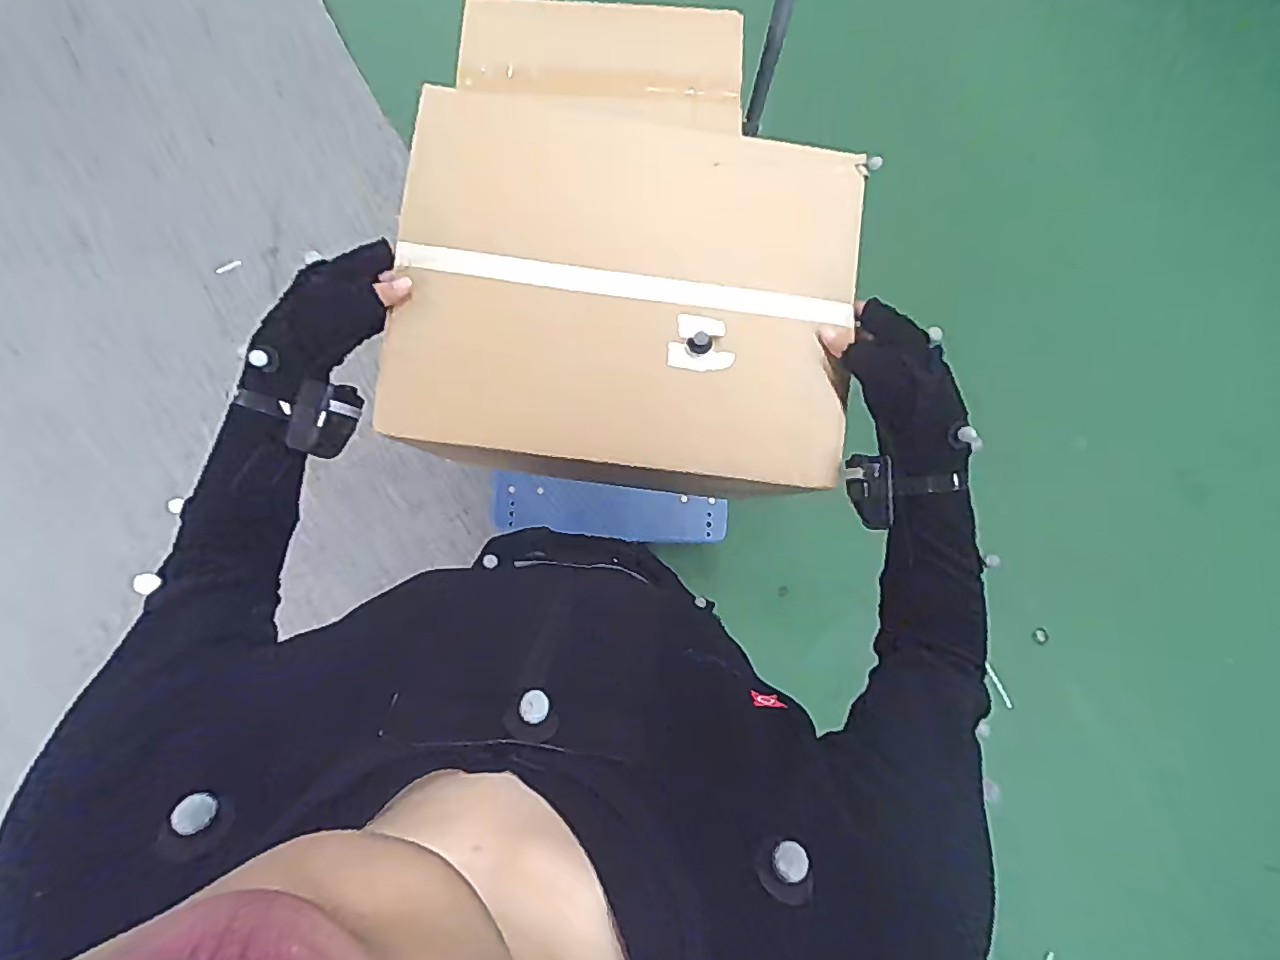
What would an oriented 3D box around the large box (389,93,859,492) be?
[{"bbox_3d":[-0.018,-0.164,0.631,0.408,0.320,0.320,7,86,-4],"label":"large box"}]
